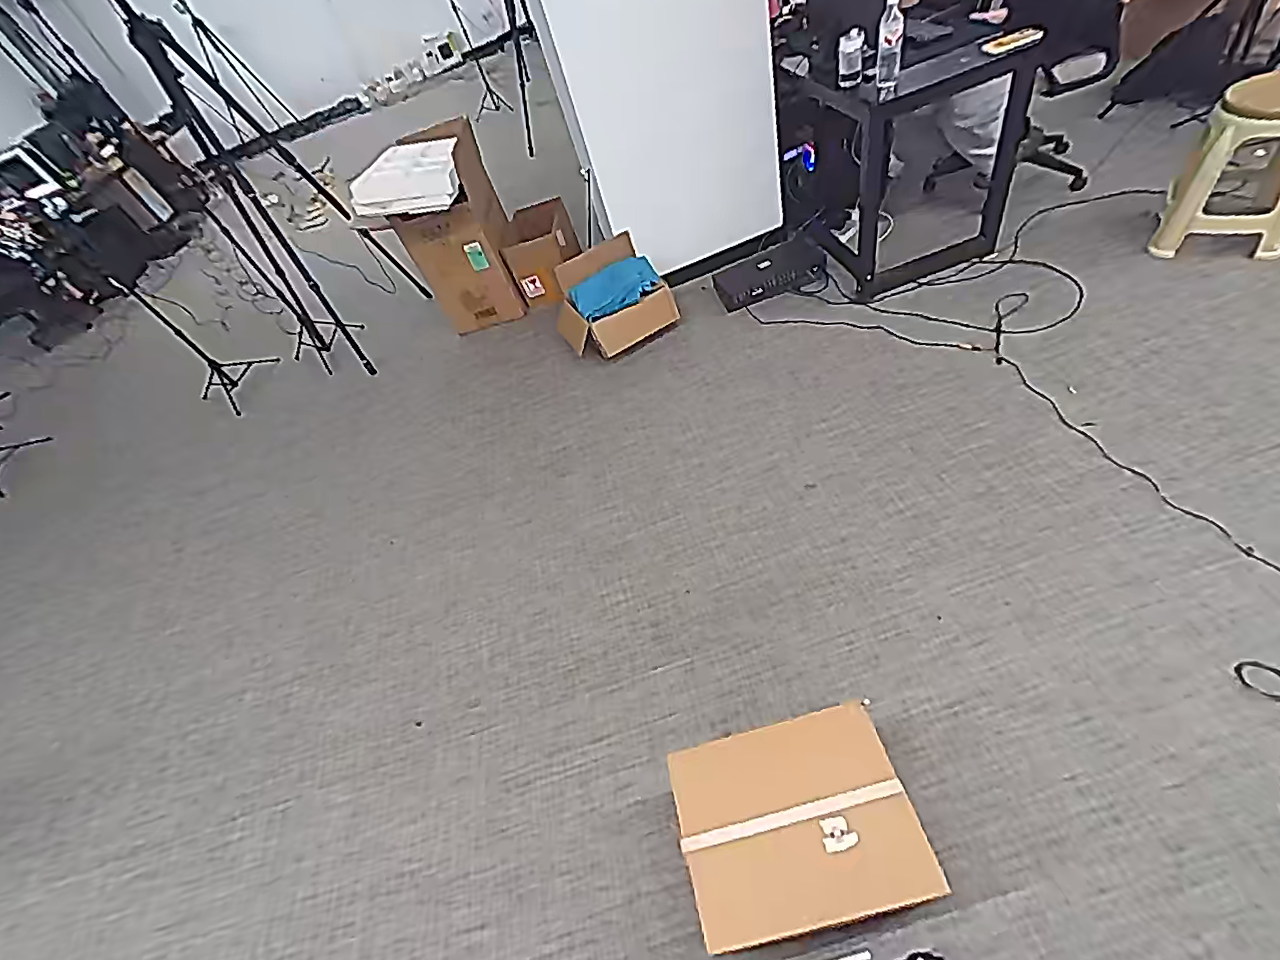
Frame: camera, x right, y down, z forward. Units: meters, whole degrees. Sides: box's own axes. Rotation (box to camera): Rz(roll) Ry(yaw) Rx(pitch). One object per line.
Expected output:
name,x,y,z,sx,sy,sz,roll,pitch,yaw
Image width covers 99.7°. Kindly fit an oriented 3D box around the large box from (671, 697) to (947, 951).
large box,0.314,0.693,1.083,0.408,0.320,0.320,-18,48,4
